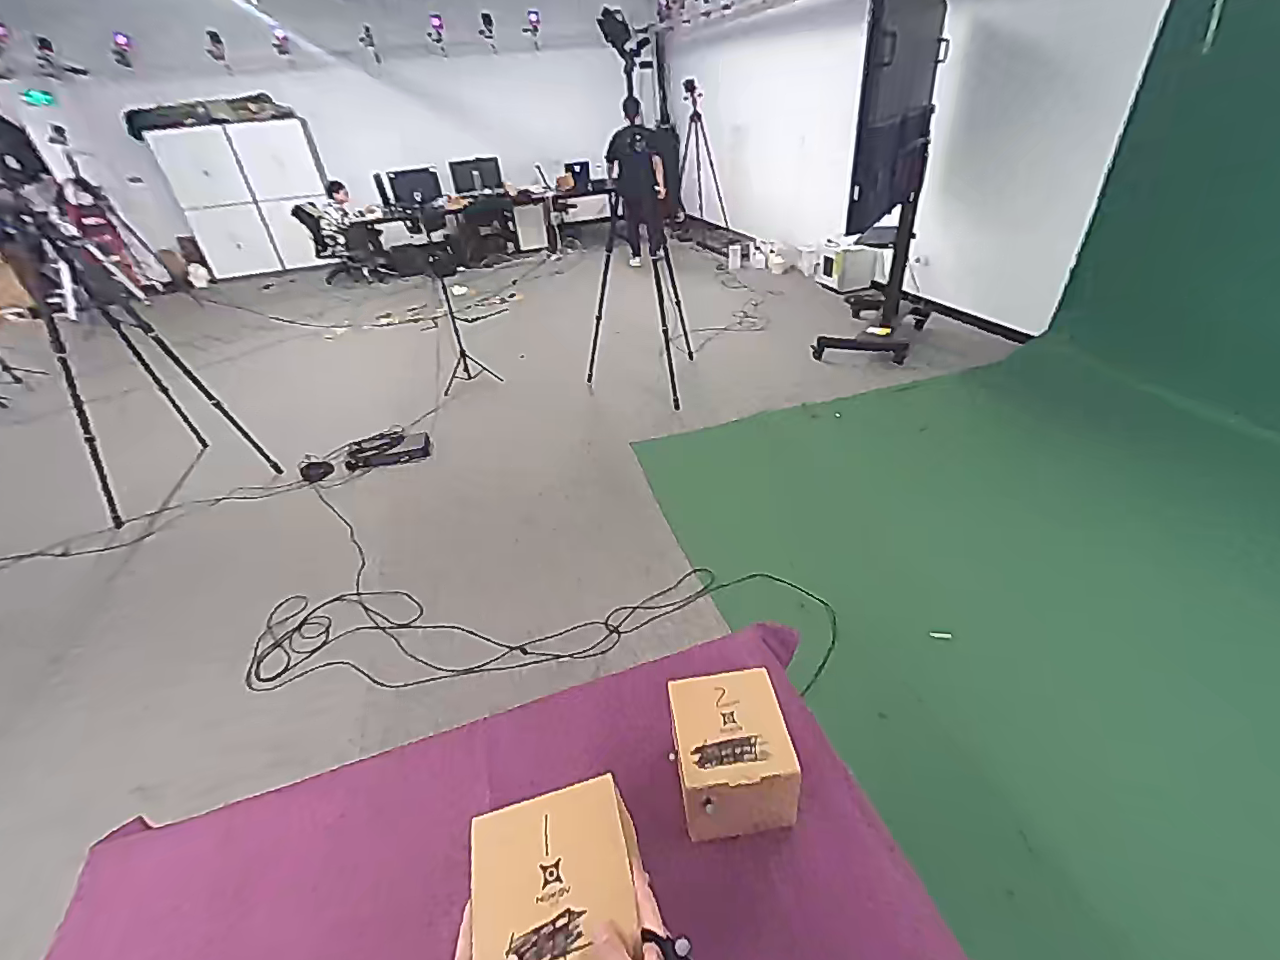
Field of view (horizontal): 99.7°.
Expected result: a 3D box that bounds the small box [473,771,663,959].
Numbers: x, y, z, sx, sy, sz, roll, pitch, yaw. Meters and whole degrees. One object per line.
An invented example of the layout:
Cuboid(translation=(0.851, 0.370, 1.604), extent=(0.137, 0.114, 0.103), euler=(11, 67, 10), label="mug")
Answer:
Cuboid(translation=(-0.077, 0.466, 0.602), extent=(0.168, 0.176, 0.179), euler=(-15, 39, -6), label="small box")
